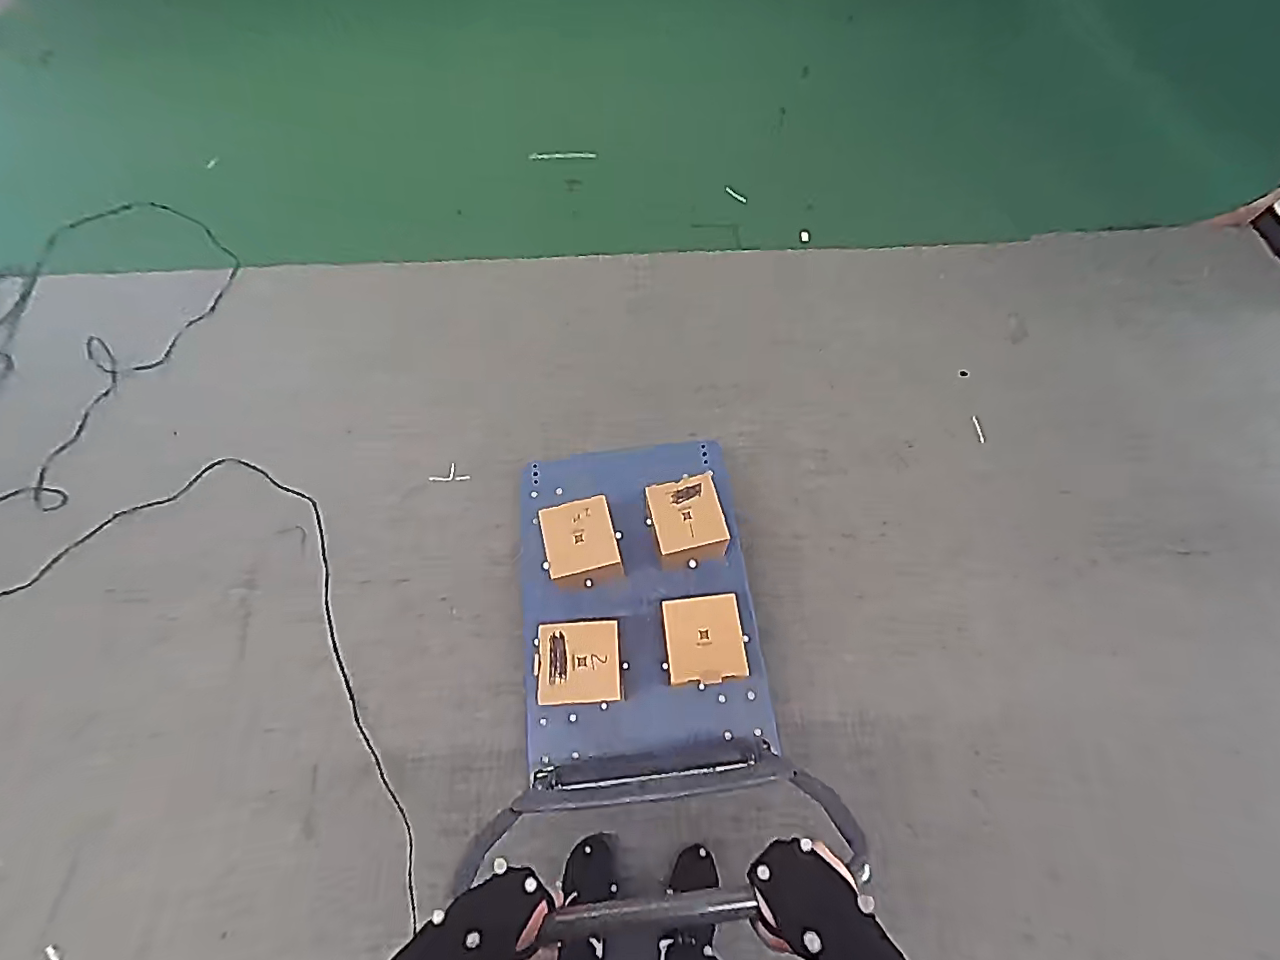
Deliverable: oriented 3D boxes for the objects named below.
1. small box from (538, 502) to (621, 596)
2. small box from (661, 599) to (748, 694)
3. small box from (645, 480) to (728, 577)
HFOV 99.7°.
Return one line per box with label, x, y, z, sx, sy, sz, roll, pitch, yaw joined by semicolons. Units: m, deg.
small box;-0.144;0.178;1.338;0.168;0.176;0.179;-13;66;-5
small box;0.139;0.384;1.238;0.168;0.176;0.179;-6;66;-1
small box;0.110;0.125;1.356;0.168;0.176;0.179;-13;66;-4
